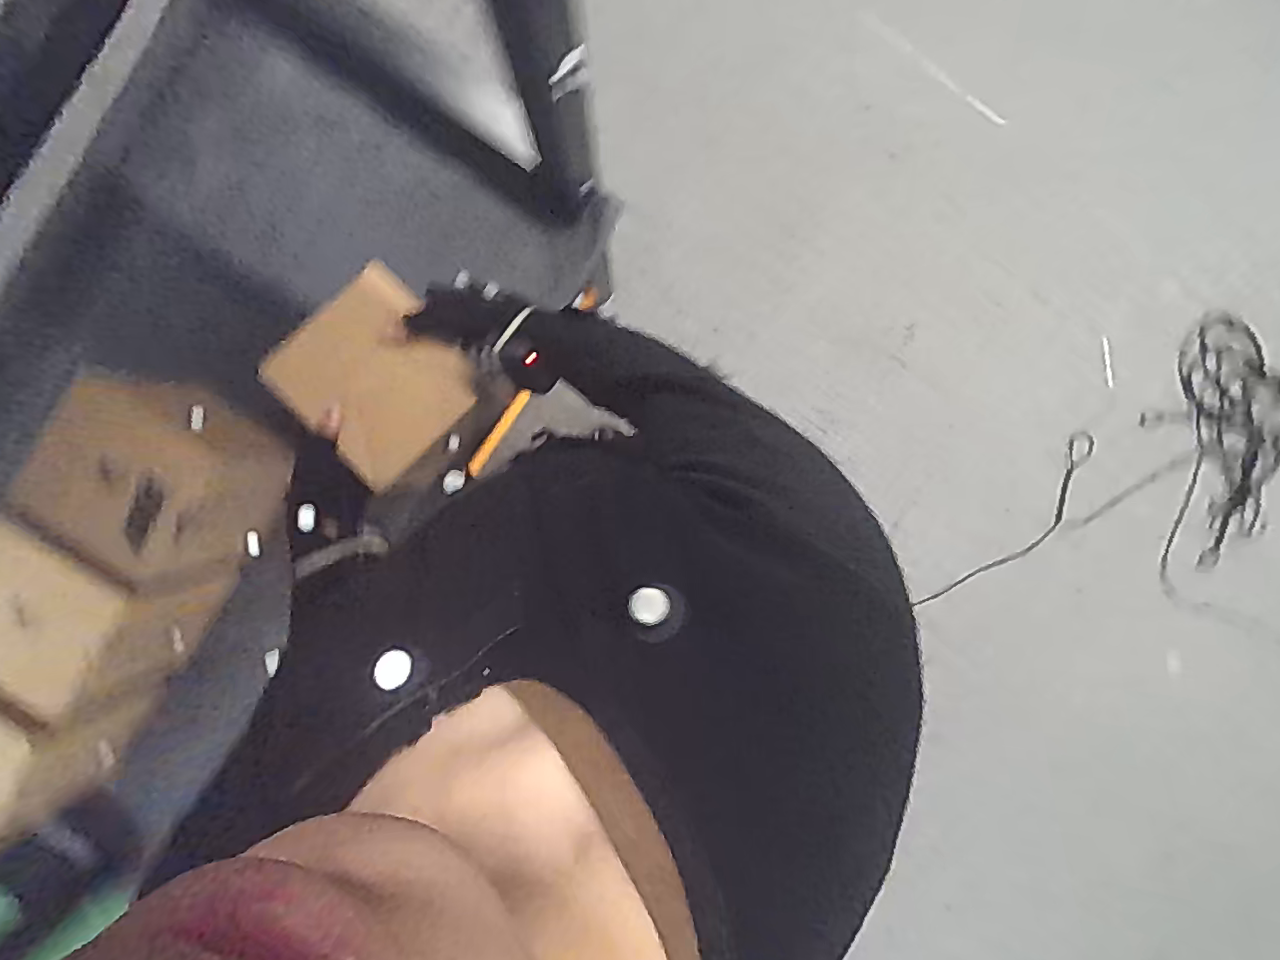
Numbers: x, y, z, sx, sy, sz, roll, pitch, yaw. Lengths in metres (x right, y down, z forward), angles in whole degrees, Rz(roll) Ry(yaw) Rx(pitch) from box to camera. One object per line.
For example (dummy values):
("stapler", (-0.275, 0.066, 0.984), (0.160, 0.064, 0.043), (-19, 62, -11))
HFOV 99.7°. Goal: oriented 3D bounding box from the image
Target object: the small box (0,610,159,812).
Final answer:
("small box", (-0.778, 0.284, 0.673), (0.179, 0.176, 0.168), (34, 93, -3))
